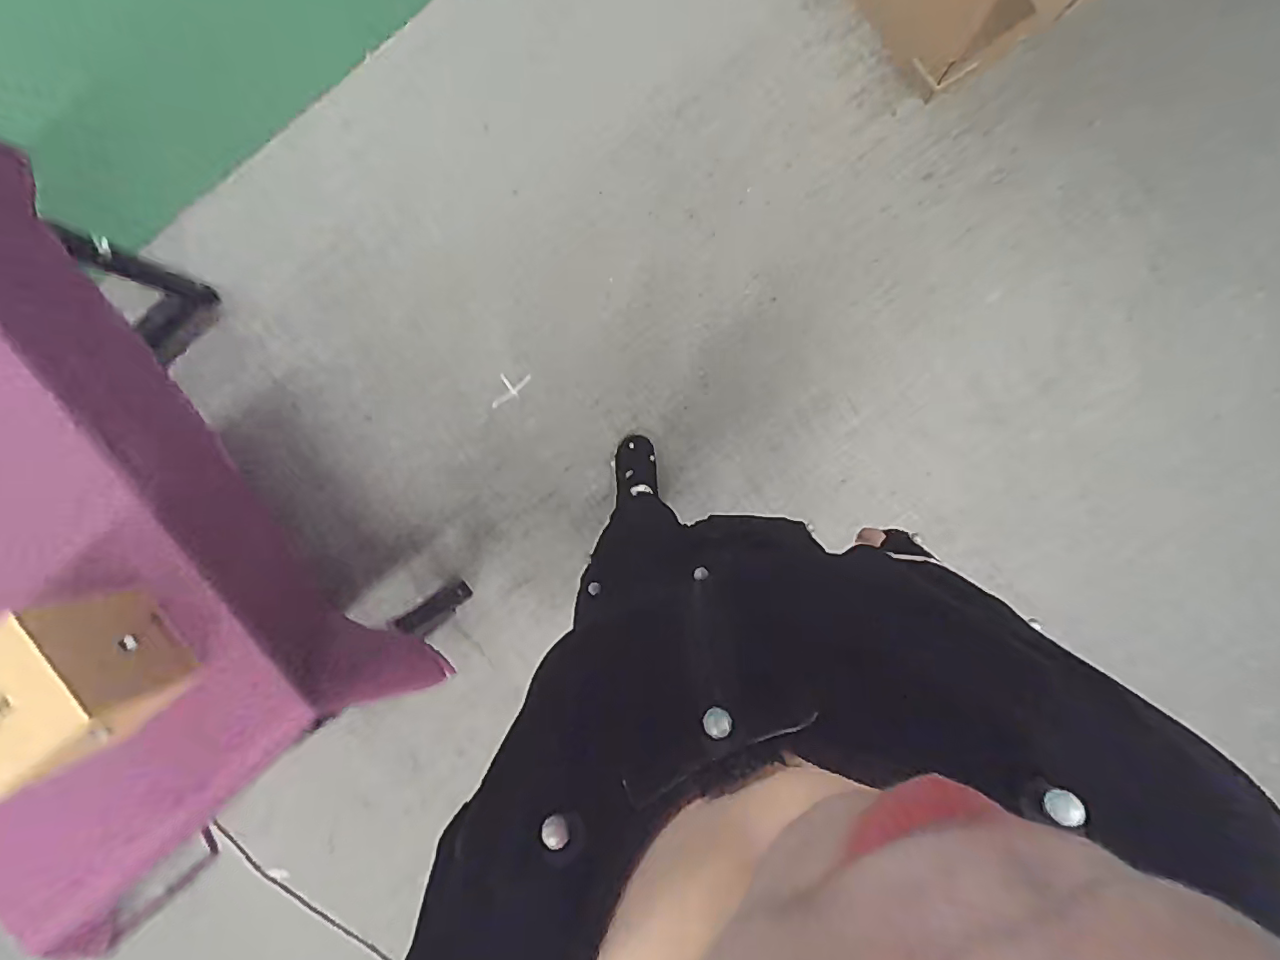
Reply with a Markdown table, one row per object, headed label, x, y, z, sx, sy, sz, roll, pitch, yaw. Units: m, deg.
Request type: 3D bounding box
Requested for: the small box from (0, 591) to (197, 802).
| label | x | y | z | sx | sy | sz | roll | pitch | yaw |
| --- | --- | --- | --- | --- | --- | --- | --- | --- | --- |
| small box | -0.757 | 0.275 | 0.730 | 0.179 | 0.176 | 0.168 | -38 | 88 | 4 |
